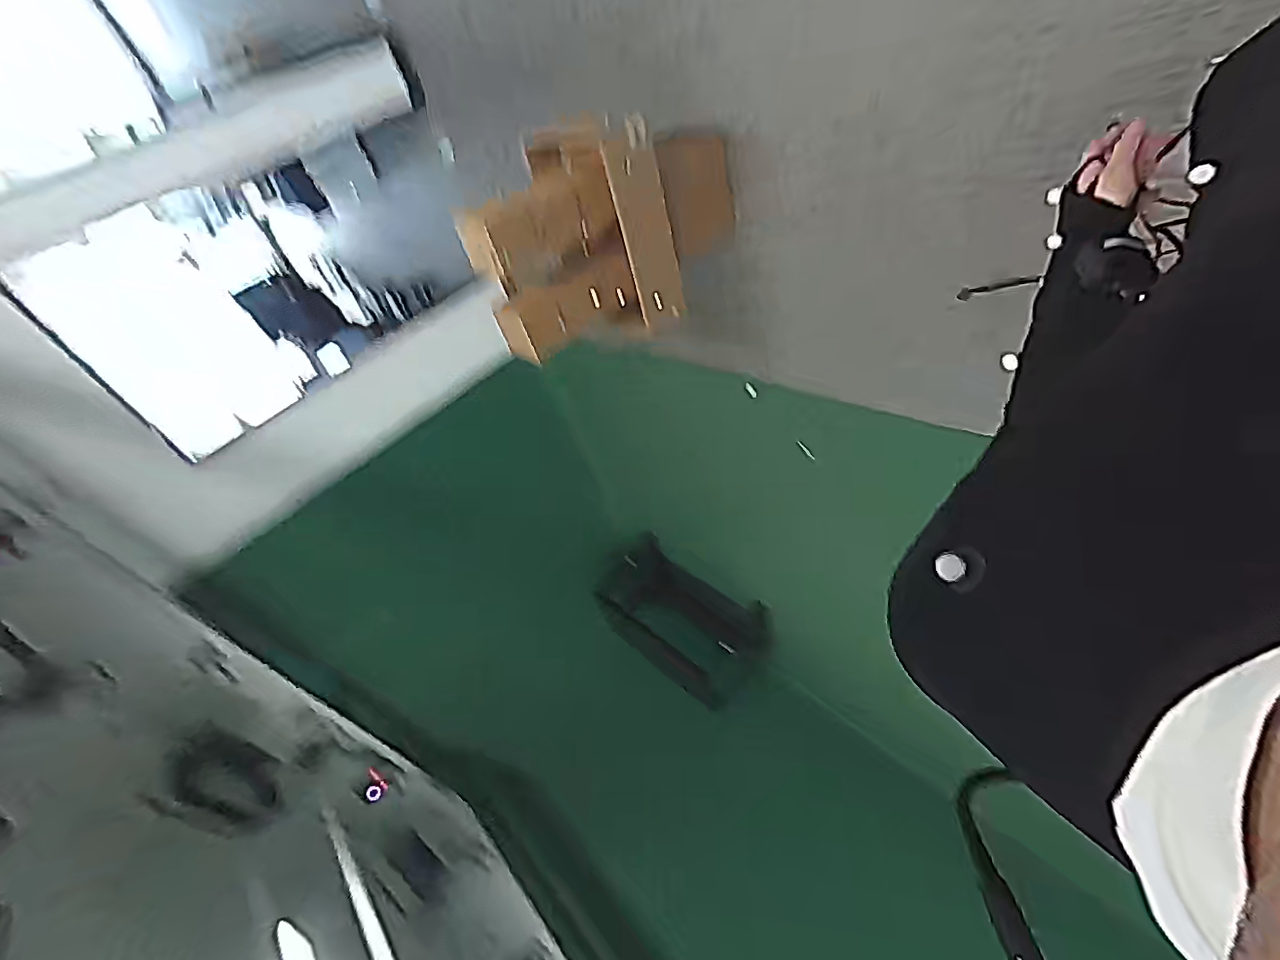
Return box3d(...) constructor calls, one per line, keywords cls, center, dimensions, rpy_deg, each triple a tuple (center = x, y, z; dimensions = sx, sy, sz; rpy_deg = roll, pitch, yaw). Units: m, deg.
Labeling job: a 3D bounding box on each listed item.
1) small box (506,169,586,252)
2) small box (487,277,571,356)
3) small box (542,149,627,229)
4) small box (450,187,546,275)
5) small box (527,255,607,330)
box3d(cls="small box", center=(-0.281, -0.806, 1.610), dimensions=(0.179, 0.176, 0.168), rpy_deg=(31, 151, 36))
box3d(cls="small box", center=(-0.352, -0.532, 1.740), dimensions=(0.179, 0.176, 0.168), rpy_deg=(30, 152, 37))
box3d(cls="small box", center=(-0.168, -0.906, 1.675), dimensions=(0.179, 0.176, 0.168), rpy_deg=(29, 150, 36))
box3d(cls="small box", center=(-0.400, -0.716, 1.542), dimensions=(0.179, 0.176, 0.168), rpy_deg=(30, 151, 36))
box3d(cls="small box", center=(-0.239, -0.630, 1.805), dimensions=(0.179, 0.176, 0.168), rpy_deg=(29, 151, 38))
